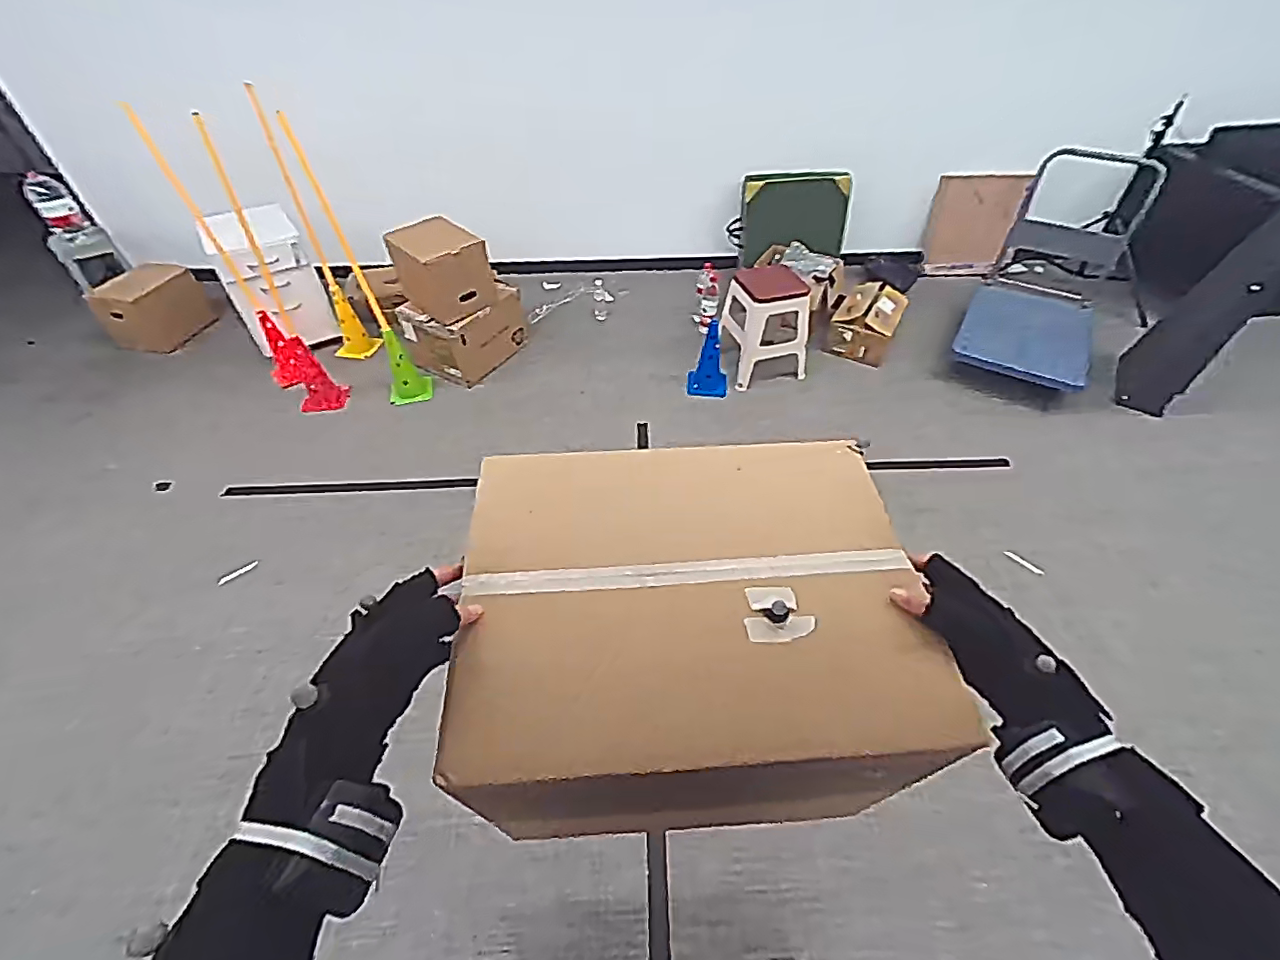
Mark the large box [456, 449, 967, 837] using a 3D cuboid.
[{"bbox_3d":[0.045,0.188,0.616,0.408,0.320,0.320,-2,51,-3],"label":"large box"}]
